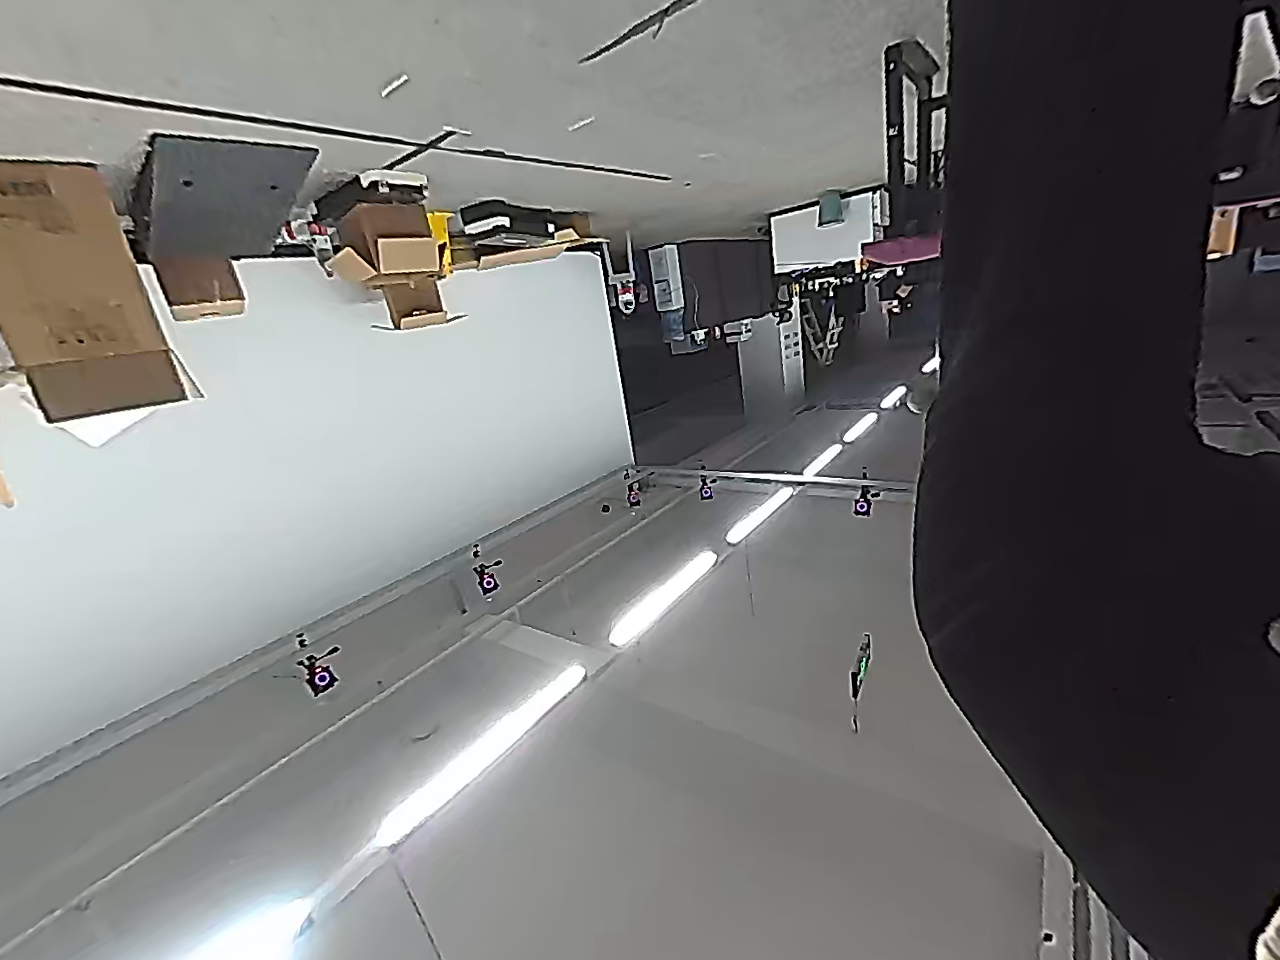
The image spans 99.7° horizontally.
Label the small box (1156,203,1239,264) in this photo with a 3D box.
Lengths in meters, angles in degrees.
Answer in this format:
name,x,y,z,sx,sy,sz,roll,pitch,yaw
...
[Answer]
name,x,y,z,sx,sy,sz,roll,pitch,yaw
small box,1.976,-0.872,1.920,0.168,0.176,0.179,2,-160,31
